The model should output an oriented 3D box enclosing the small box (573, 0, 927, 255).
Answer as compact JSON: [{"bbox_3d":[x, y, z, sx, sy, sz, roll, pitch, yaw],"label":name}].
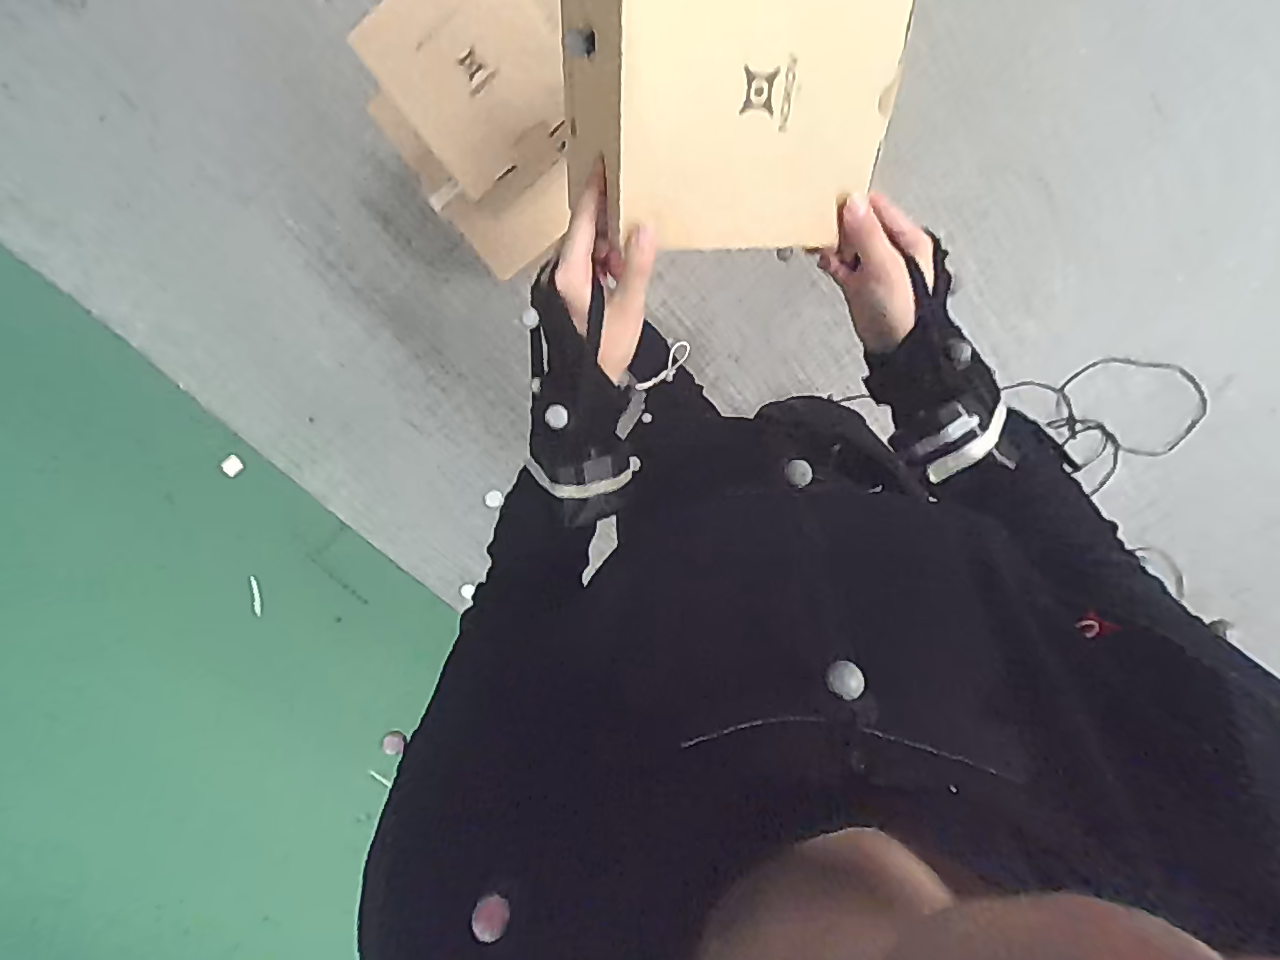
[{"bbox_3d":[0.052,-0.256,0.370,0.179,0.176,0.168,-8,124,-16],"label":"small box"}]

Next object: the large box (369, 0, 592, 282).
[{"bbox_3d":[-0.182,-0.609,0.971,0.408,0.320,0.320,-37,111,8],"label":"large box"}]

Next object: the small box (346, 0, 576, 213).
[{"bbox_3d":[-0.174,-0.425,0.605,0.168,0.176,0.179,-37,109,7],"label":"small box"}]
